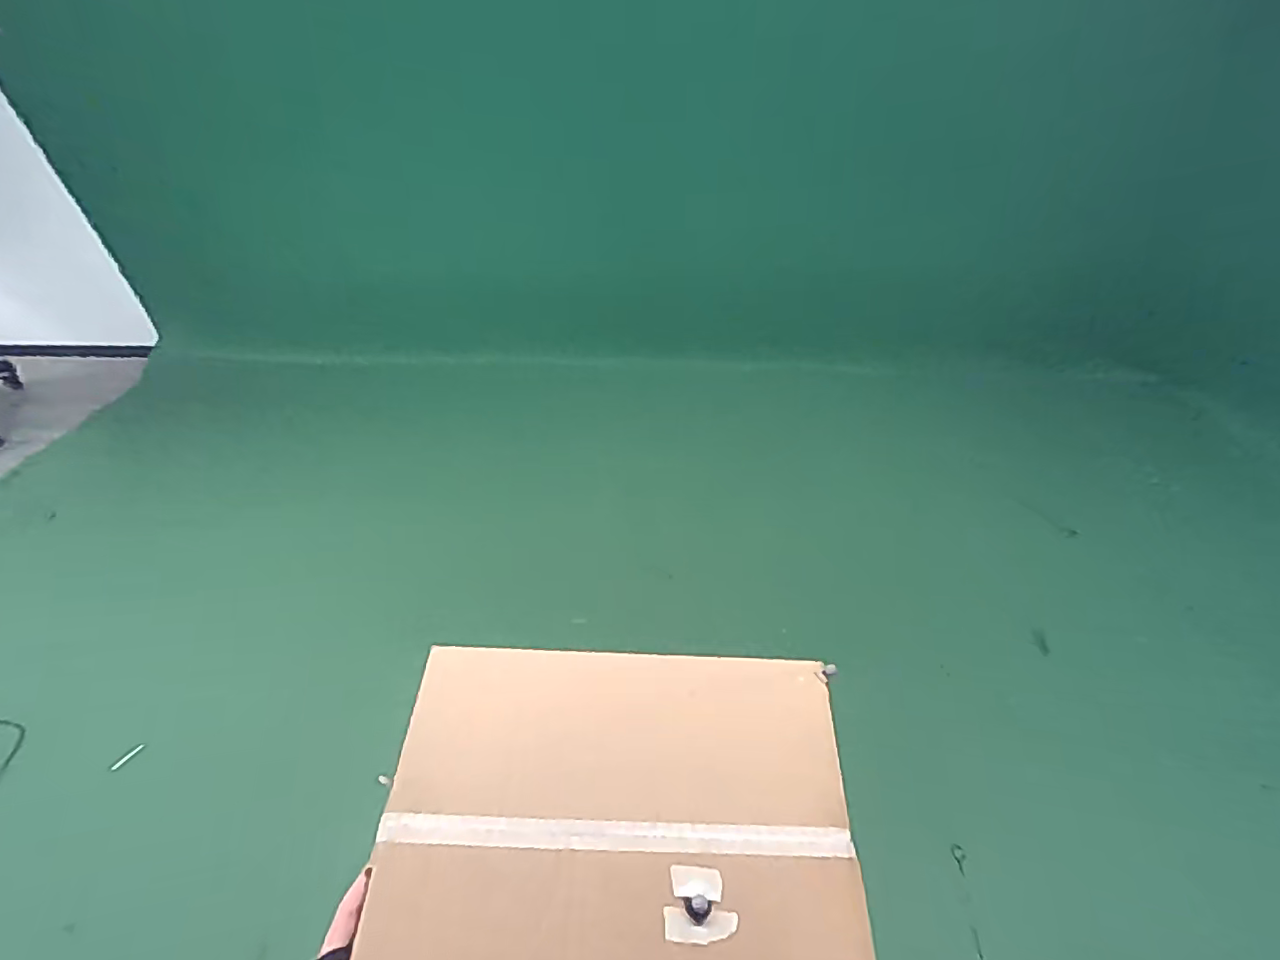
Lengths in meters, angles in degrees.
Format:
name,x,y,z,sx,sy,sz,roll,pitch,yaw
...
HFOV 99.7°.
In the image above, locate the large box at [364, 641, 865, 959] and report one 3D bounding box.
name,x,y,z,sx,sy,sz,roll,pitch,yaw
large box,-0.023,0.386,0.603,0.408,0.320,0.320,2,55,-1
